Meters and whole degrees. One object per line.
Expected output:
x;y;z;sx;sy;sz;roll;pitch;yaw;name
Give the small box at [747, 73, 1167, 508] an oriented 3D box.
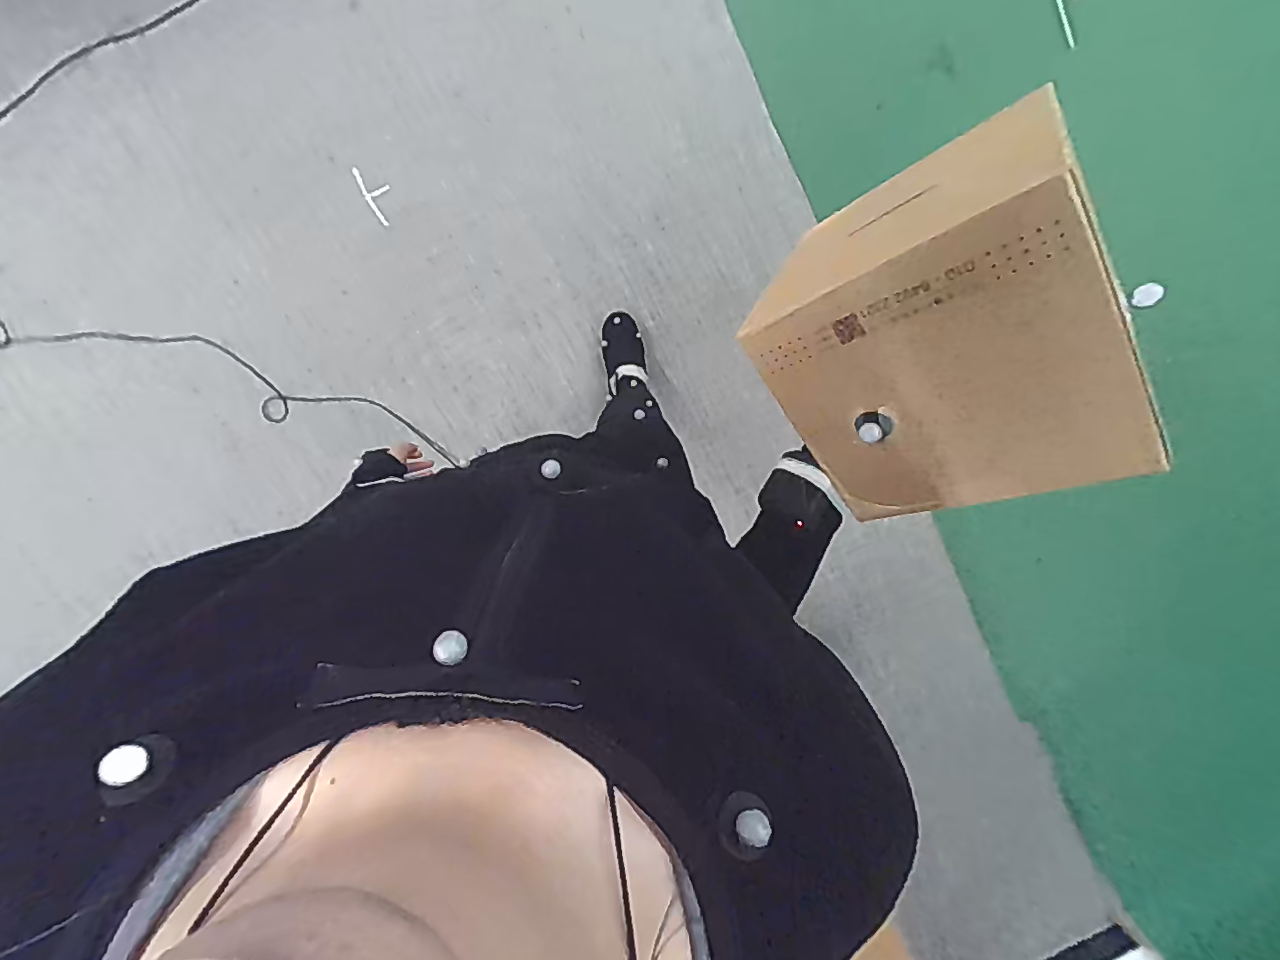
0.195;-0.113;0.351;0.168;0.179;0.176;-18;120;45;small box
